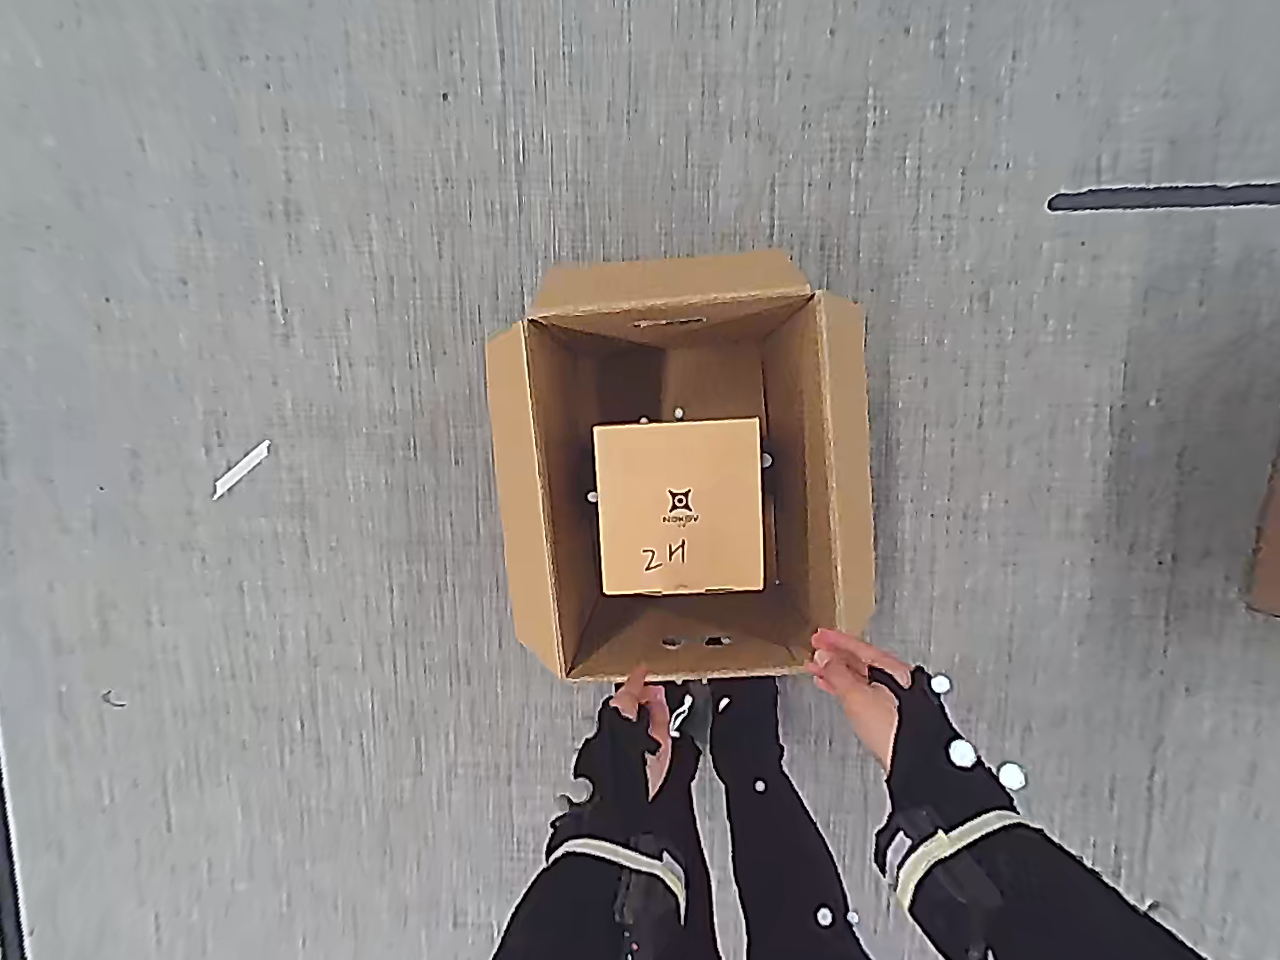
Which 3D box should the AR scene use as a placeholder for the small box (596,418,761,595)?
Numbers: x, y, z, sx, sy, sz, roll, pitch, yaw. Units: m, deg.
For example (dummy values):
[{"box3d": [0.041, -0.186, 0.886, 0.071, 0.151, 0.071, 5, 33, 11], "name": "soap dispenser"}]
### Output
[{"box3d": [0.042, 0.022, 0.623, 0.168, 0.176, 0.179, -3, 96, 3], "name": "small box"}]
